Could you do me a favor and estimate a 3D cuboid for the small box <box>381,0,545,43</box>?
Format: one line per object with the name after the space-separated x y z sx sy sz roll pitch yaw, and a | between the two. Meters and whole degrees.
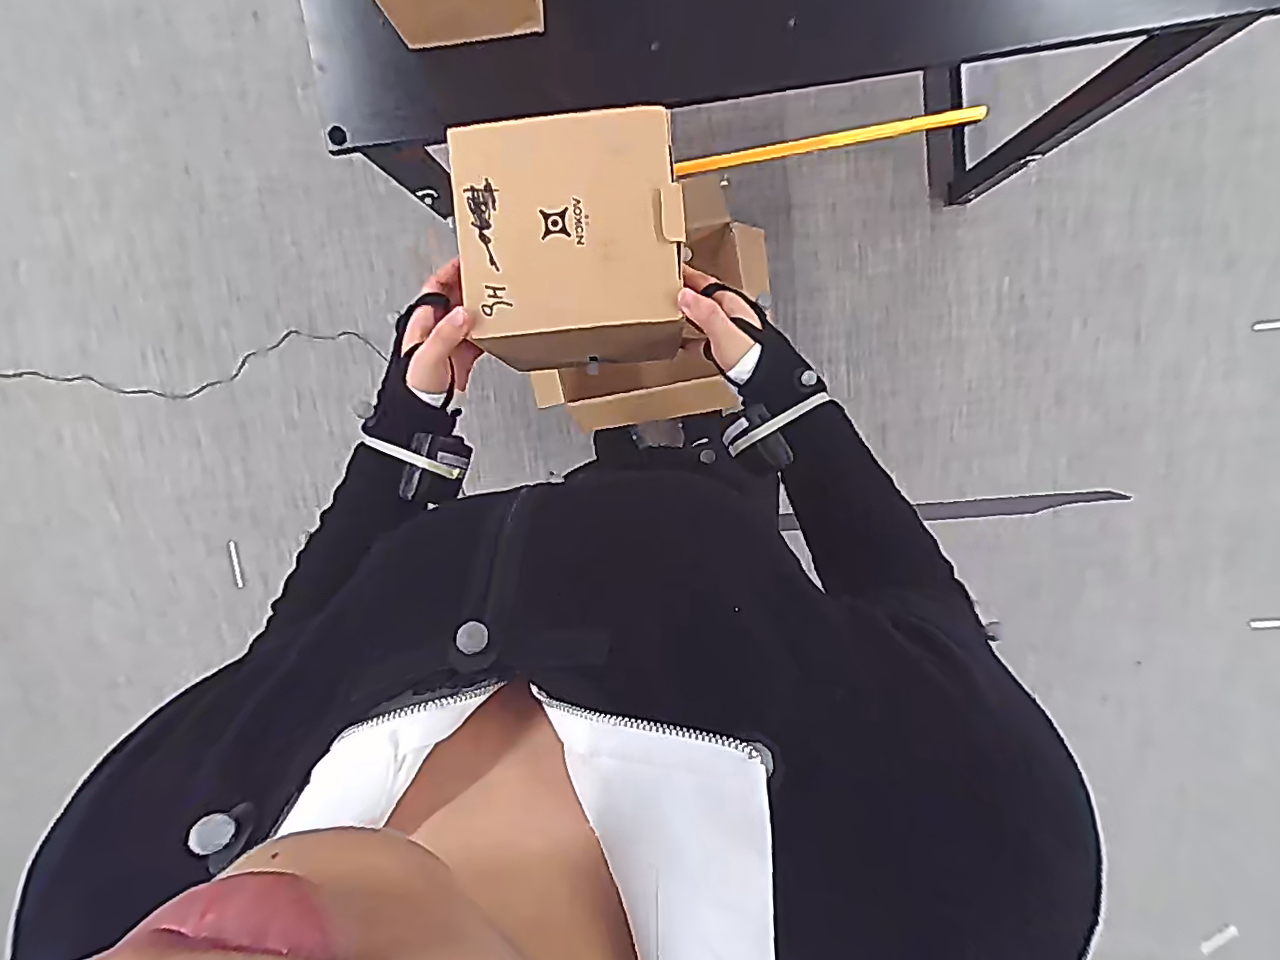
-0.211 -0.608 0.574 0.179 0.176 0.168 -6 100 2 | small box
